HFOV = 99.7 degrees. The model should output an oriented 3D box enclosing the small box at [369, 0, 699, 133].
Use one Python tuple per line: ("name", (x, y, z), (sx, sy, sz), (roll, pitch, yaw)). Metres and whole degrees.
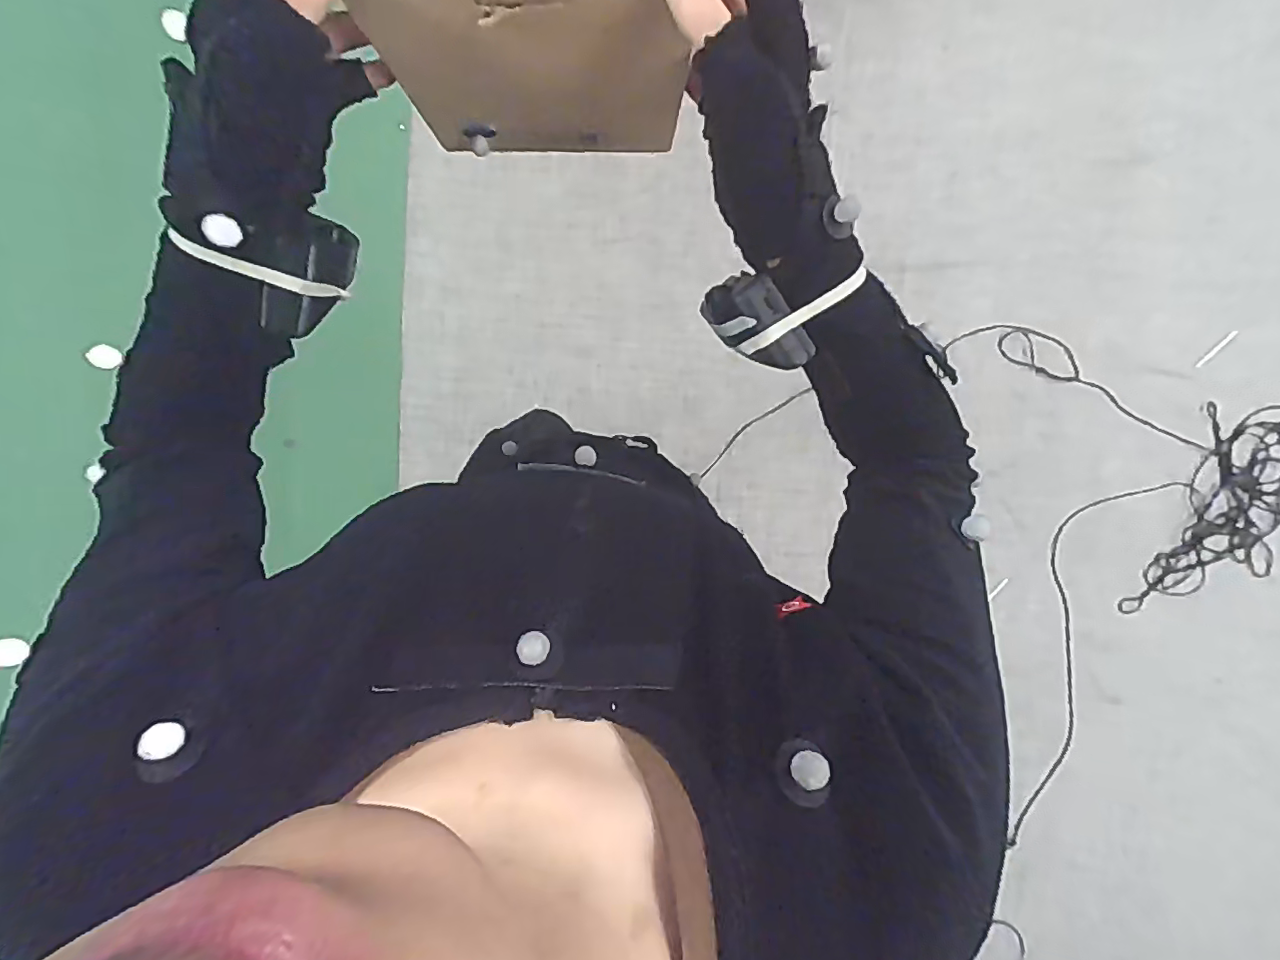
("small box", (-0.052, -0.320, 0.296), (0.168, 0.176, 0.179), (-1, 97, -3))
